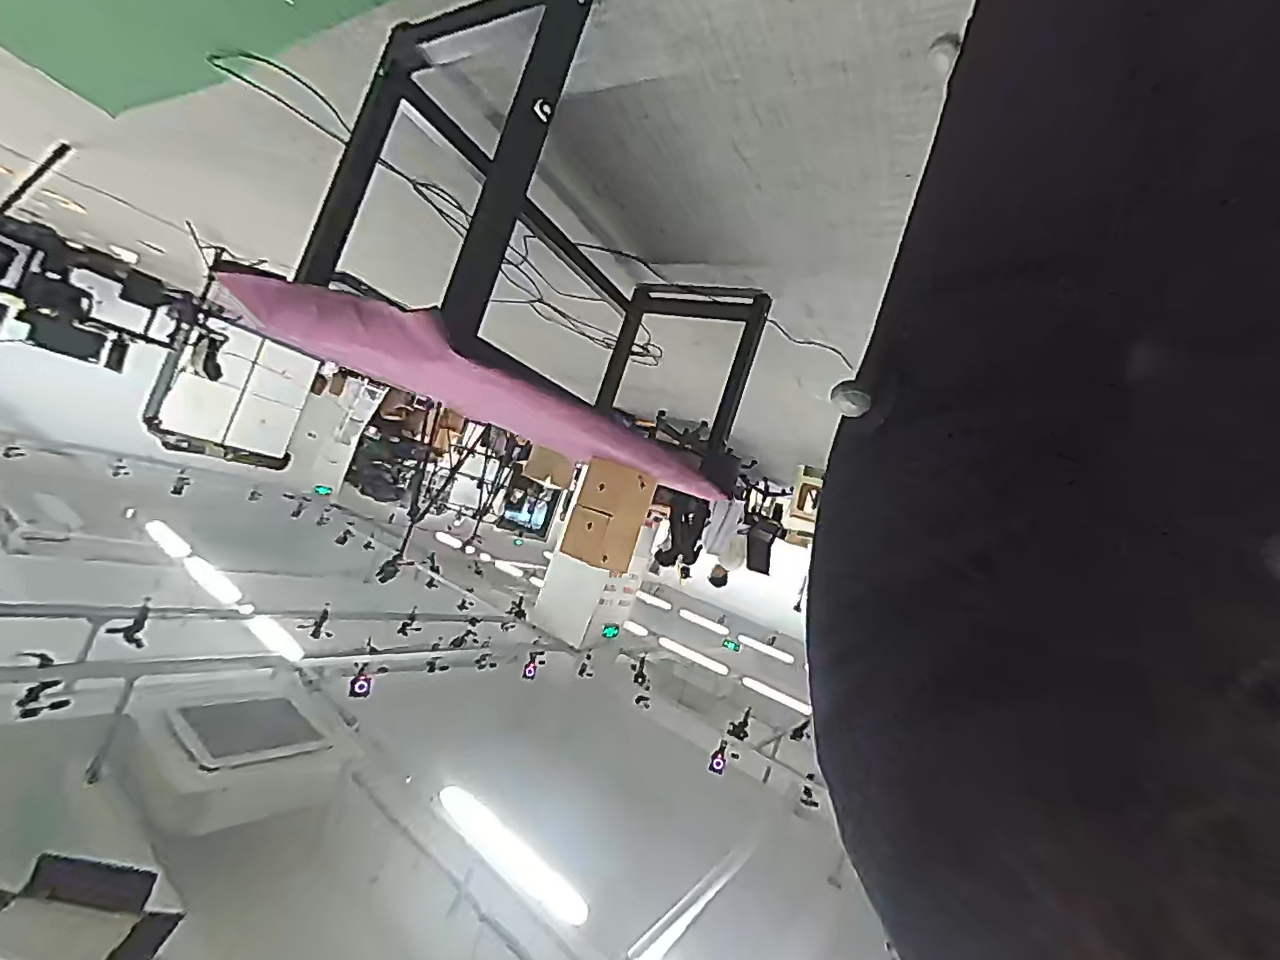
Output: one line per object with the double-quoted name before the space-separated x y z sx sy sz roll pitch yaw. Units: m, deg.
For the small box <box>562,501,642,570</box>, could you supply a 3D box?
"small box" -0.119 0.182 1.774 0.168 0.176 0.179 15 174 40
